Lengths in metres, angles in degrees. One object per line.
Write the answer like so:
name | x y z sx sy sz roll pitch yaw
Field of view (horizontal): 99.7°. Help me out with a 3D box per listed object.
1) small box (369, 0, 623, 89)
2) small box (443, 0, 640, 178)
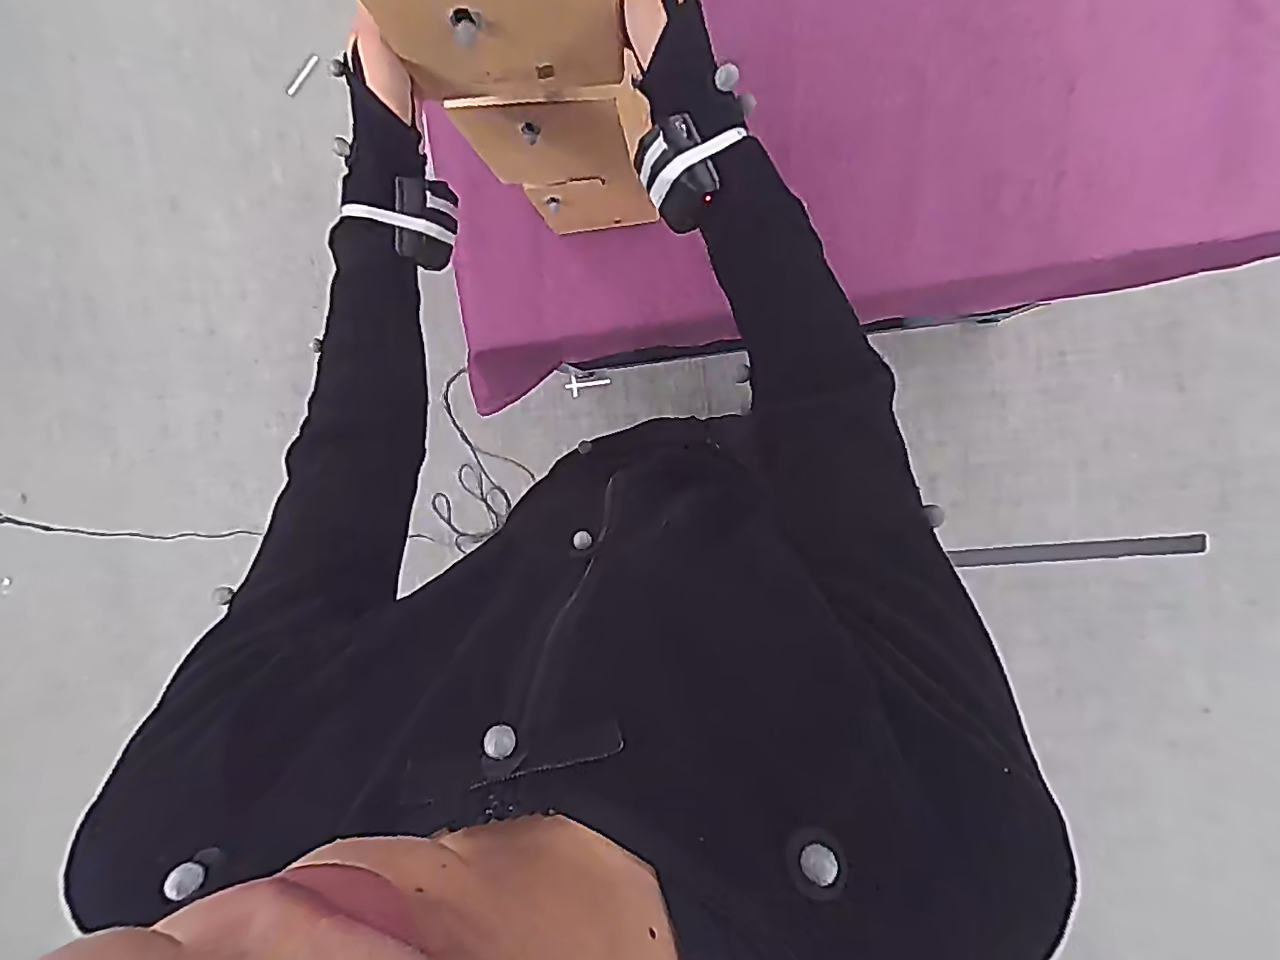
small box | -0.101 -0.399 0.364 0.168 0.176 0.179 -5 97 1
small box | -0.098 -0.456 0.599 0.179 0.176 0.168 2 96 6
